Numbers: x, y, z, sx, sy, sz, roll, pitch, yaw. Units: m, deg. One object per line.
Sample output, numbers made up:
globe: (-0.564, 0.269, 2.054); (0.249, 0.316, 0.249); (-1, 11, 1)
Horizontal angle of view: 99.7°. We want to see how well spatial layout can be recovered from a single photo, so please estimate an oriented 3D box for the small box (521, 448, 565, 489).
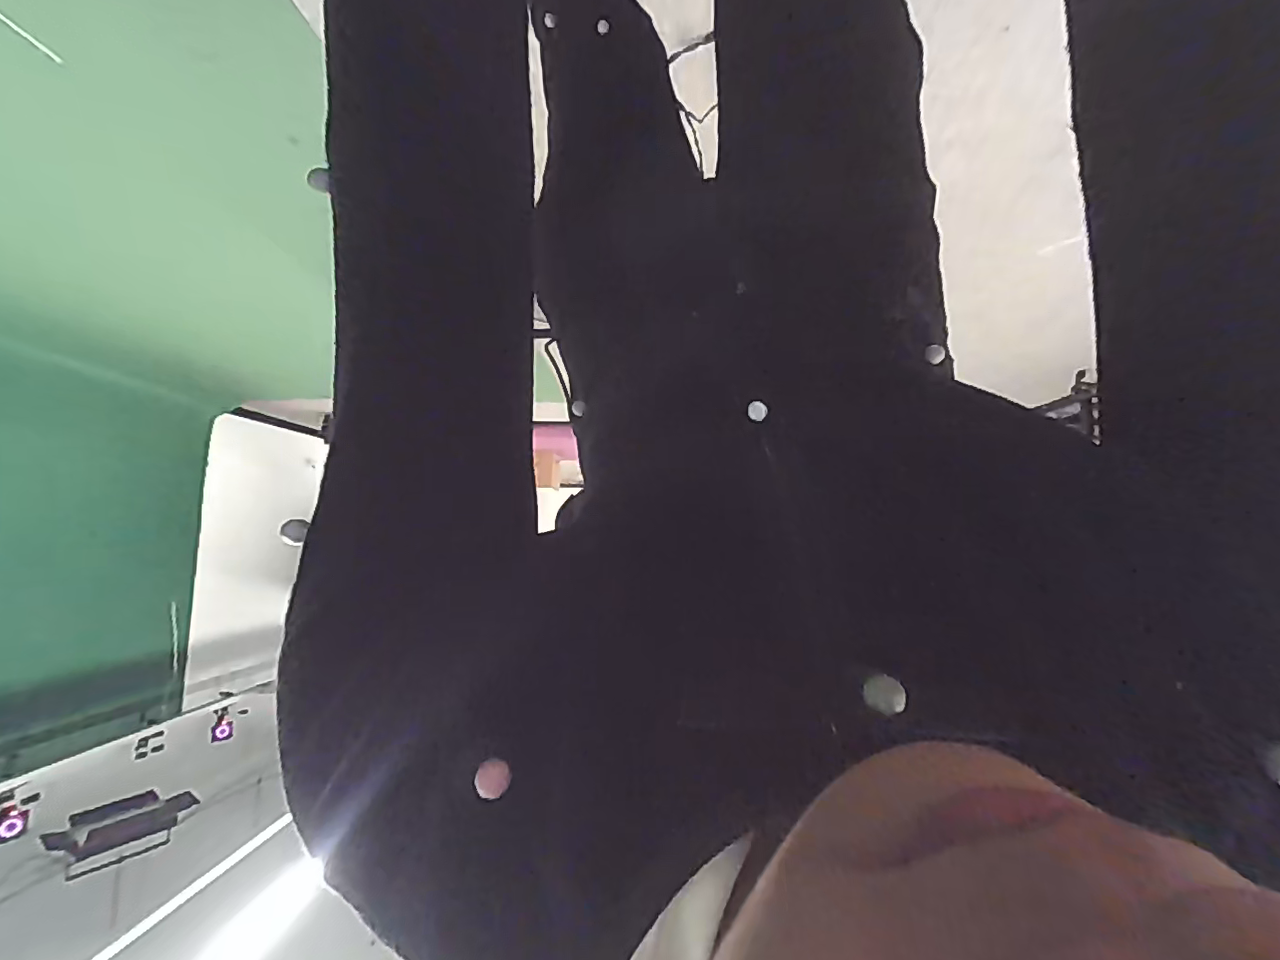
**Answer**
small box: (-0.439, -0.053, 2.458); (0.168, 0.176, 0.179); (1, 173, 4)
